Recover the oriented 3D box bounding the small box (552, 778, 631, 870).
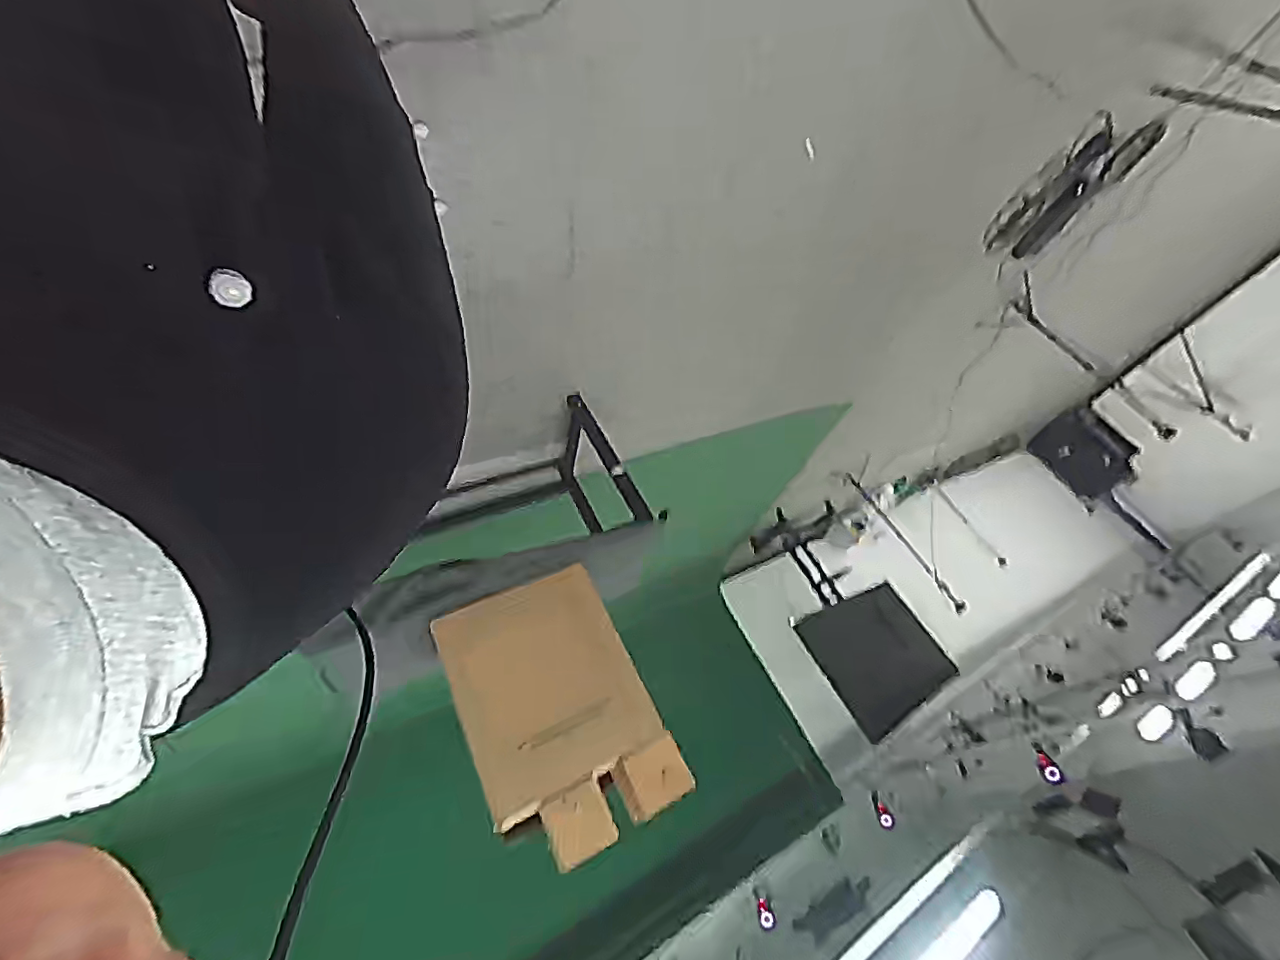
[{"bbox_3d":[-0.146,0.992,1.564,0.168,0.176,0.179,-19,150,-24],"label":"small box"}]

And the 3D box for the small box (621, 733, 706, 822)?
[{"bbox_3d":[0.068,0.910,1.662,0.179,0.176,0.168,-19,150,-29],"label":"small box"}]
